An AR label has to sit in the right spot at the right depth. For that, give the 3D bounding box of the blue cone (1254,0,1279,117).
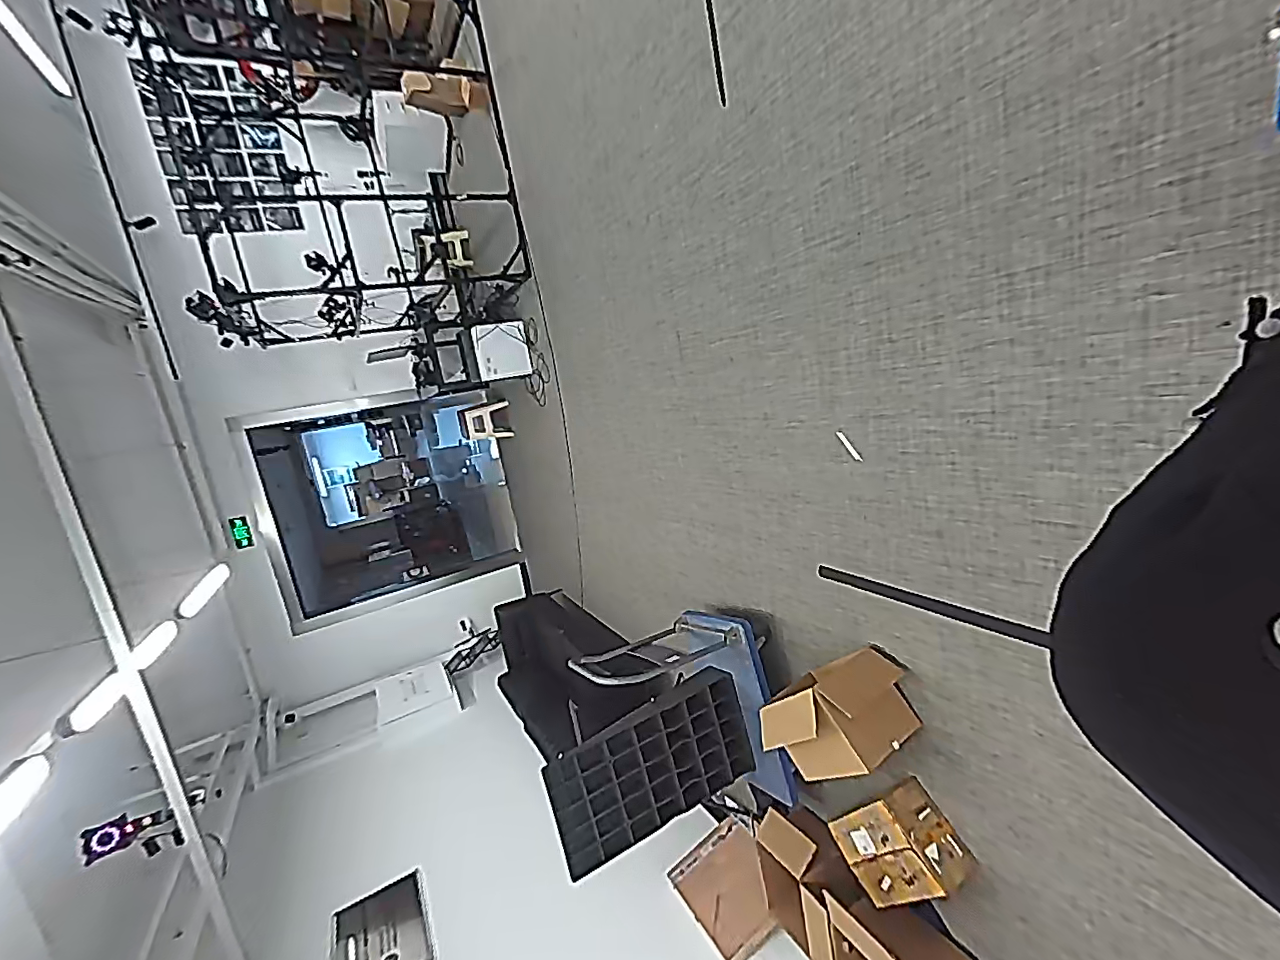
[{"bbox_3d":[0.964,-0.637,0.748,0.192,0.380,0.193,20,121,61],"label":"blue cone"}]
